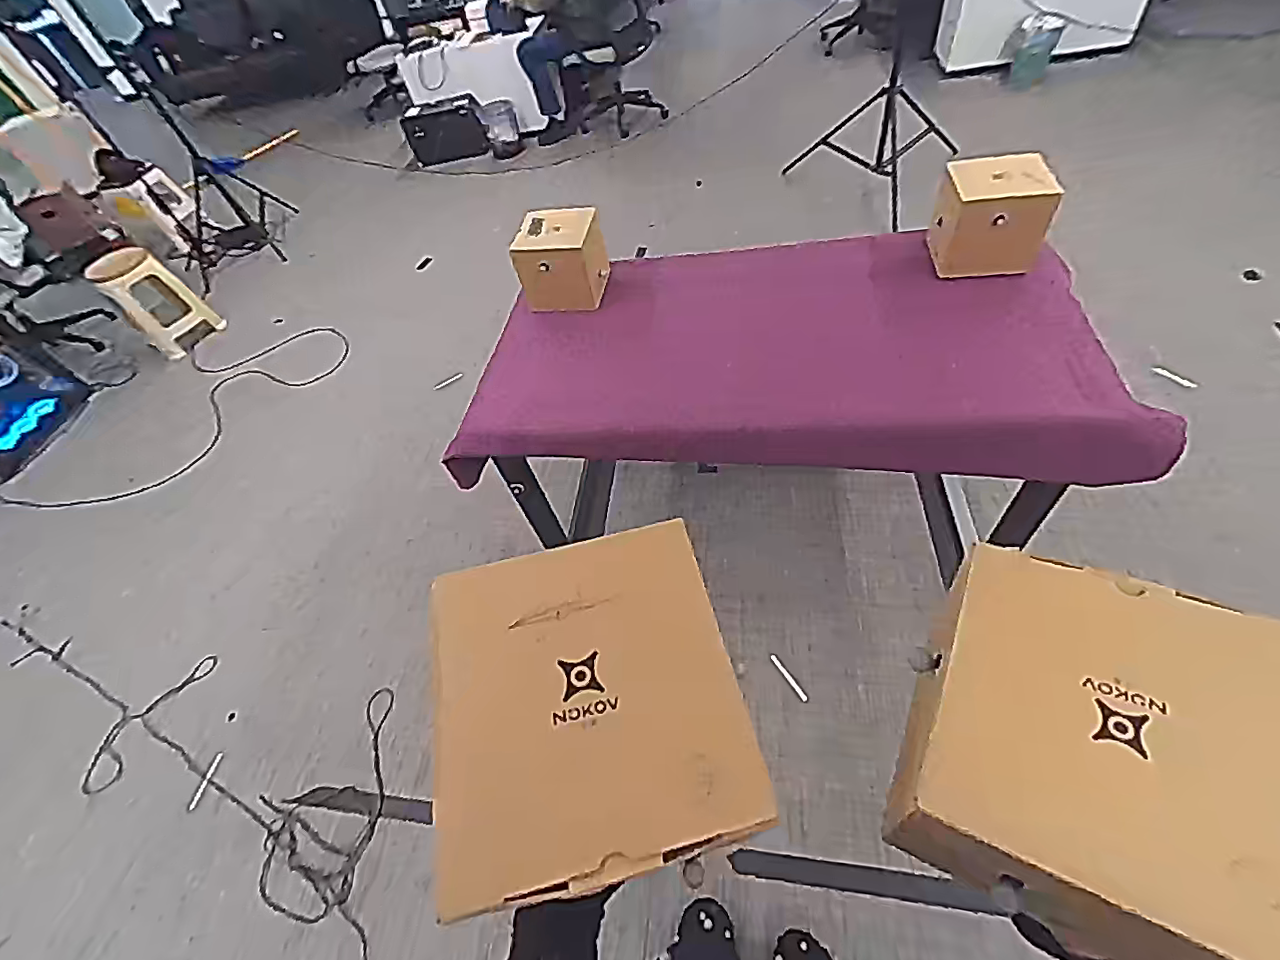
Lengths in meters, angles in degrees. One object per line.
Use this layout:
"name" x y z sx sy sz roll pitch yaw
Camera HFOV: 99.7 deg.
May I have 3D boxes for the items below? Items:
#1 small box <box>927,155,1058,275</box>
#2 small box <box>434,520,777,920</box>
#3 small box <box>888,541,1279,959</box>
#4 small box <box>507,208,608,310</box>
"small box" 0.716 -0.546 1.128 0.179 0.176 0.168 1 54 12
"small box" -0.026 0.158 0.363 0.168 0.176 0.179 -13 54 -6
"small box" 0.269 0.173 0.346 0.168 0.176 0.179 16 58 27
"small box" -0.190 -0.526 1.302 0.179 0.176 0.168 3 55 12
